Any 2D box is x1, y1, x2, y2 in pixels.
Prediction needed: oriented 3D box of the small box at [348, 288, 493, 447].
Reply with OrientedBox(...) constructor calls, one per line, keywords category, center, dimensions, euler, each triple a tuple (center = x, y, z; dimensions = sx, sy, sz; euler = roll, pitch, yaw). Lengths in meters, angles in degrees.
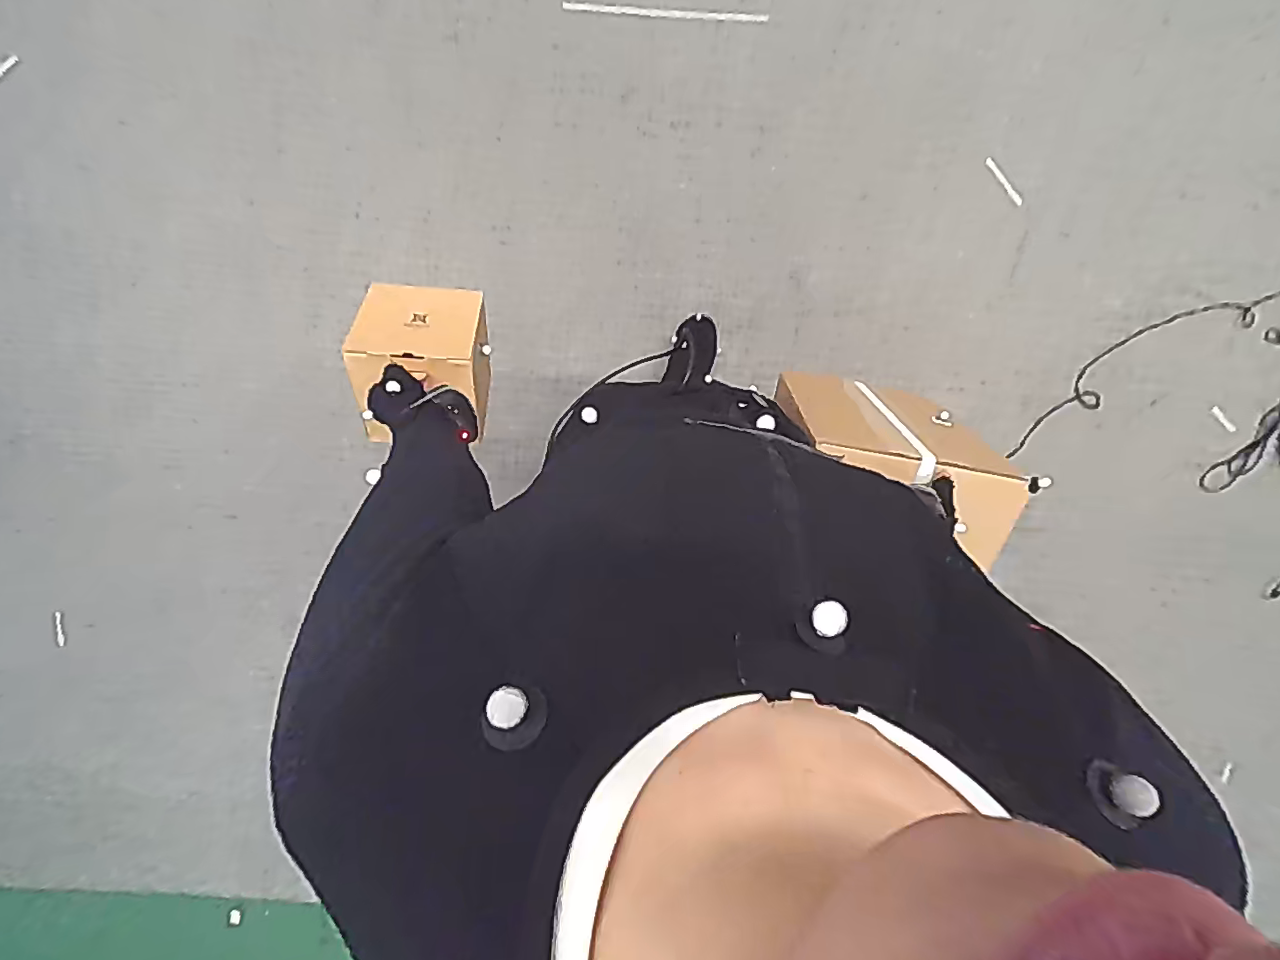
OrientedBox(category="small box", center=(-0.325, -0.173, 0.842), dimensions=(0.168, 0.179, 0.176), euler=(1, 139, -8))
